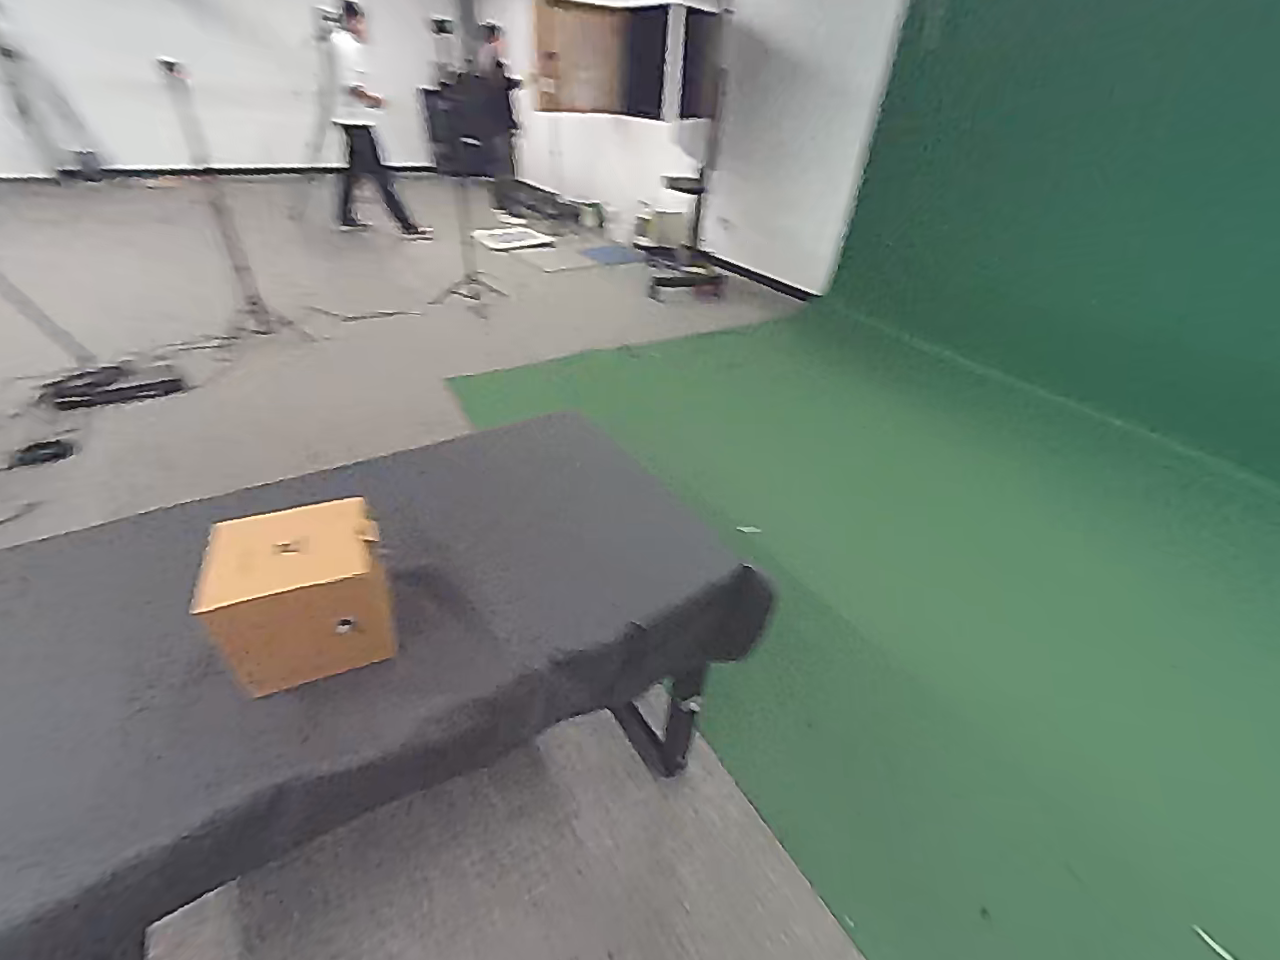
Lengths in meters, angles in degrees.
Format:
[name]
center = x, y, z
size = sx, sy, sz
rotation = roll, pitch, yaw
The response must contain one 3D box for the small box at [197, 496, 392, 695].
[small box]
center = -0.443, 0.151, 0.725
size = 0.179, 0.176, 0.168
rotation = -14, 39, -22
